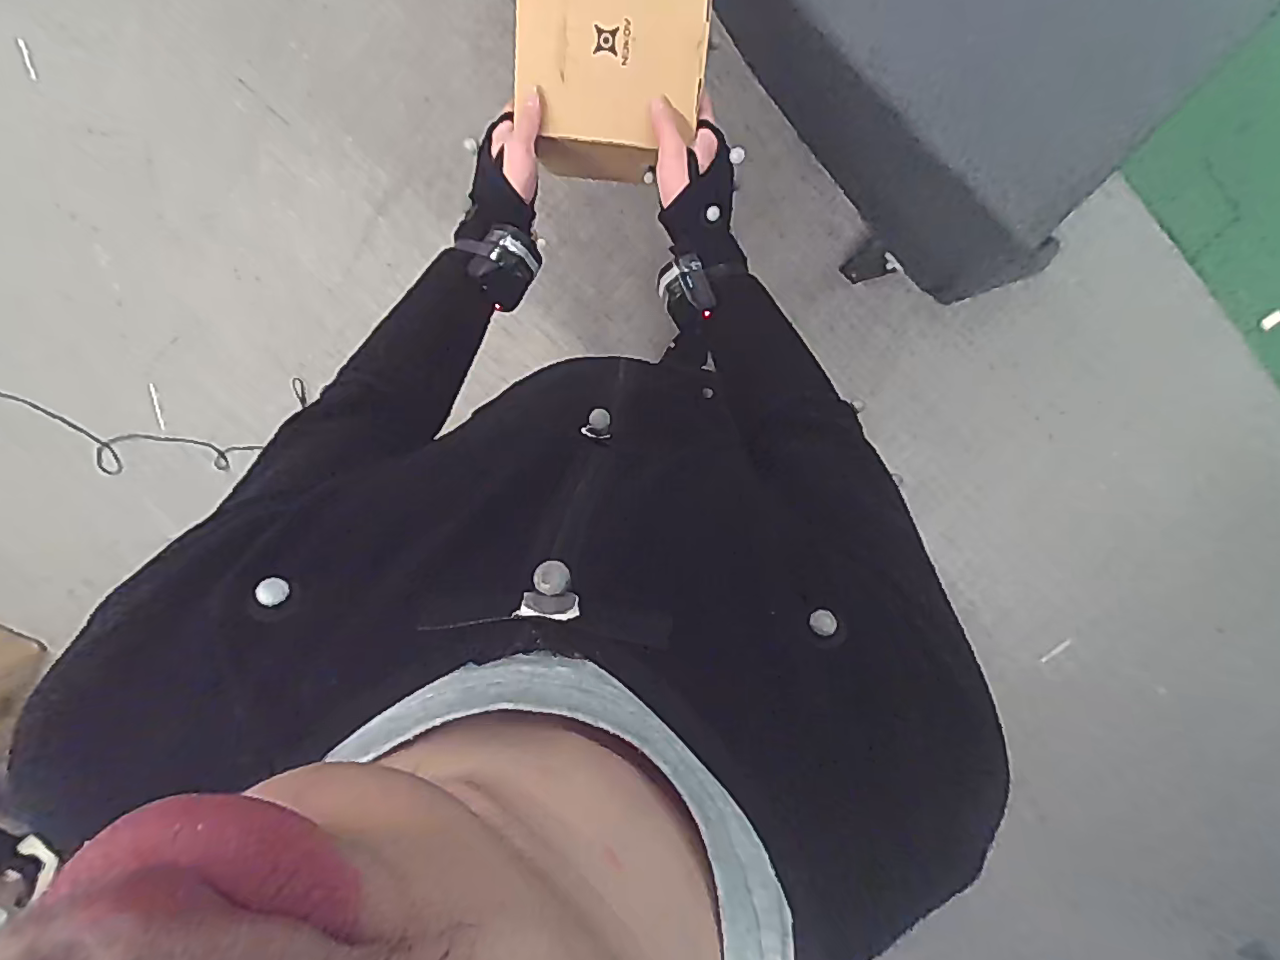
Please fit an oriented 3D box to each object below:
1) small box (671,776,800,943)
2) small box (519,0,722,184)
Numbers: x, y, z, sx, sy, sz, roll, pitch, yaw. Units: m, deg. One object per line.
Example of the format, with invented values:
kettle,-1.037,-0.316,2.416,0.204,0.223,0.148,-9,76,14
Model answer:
small box,0.172,0.724,1.048,0.168,0.176,0.179,43,101,-10
small box,-0.018,-0.413,0.548,0.179,0.176,0.168,4,105,0
